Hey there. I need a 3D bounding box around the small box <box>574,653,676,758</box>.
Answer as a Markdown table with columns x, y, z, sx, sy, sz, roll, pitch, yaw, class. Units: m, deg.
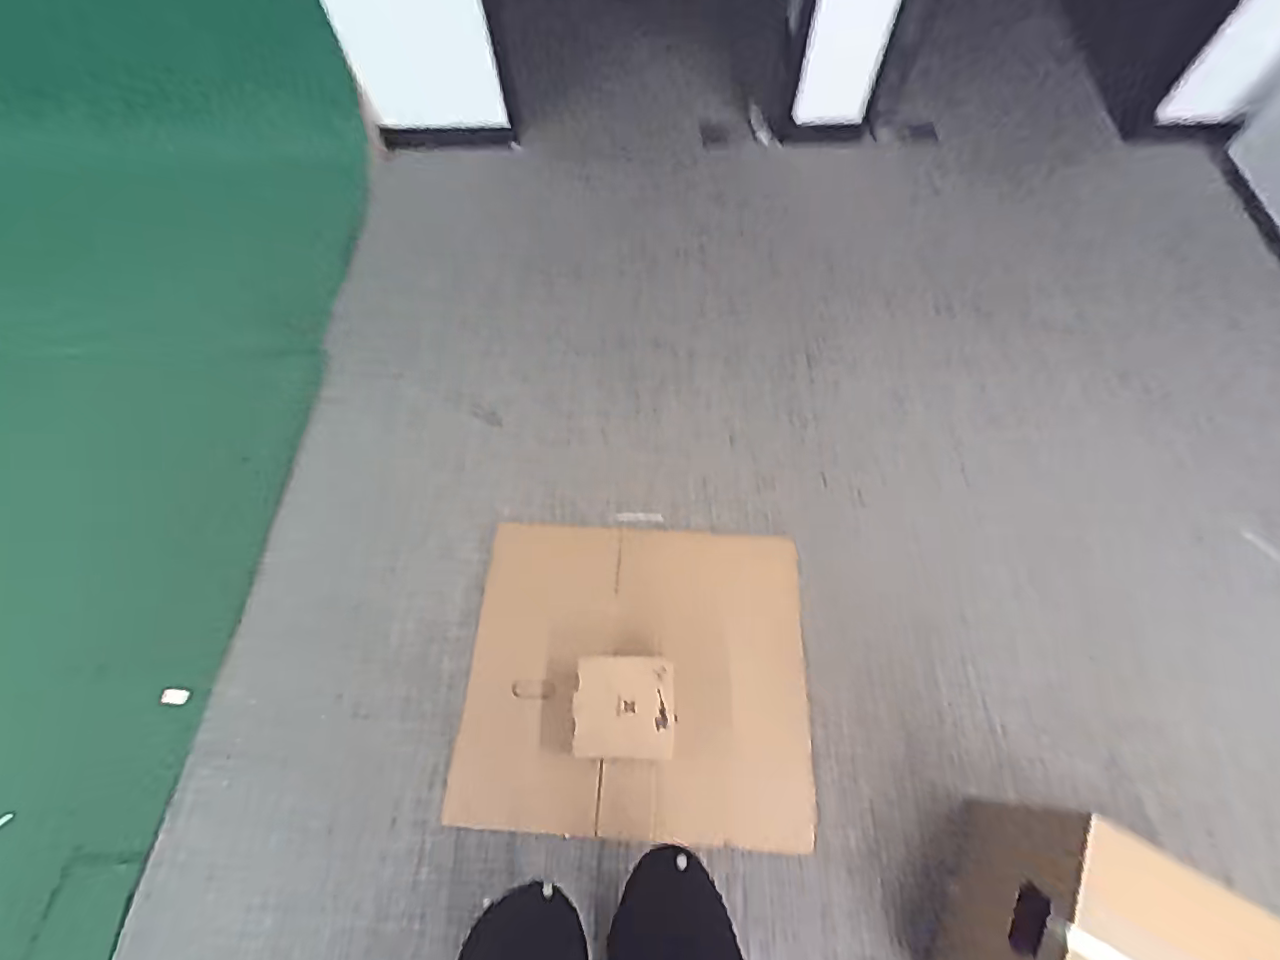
| x | y | z | sx | sy | sz | roll | pitch | yaw | class |
| --- | --- | --- | --- | --- | --- | --- | --- | --- | --- |
| -0.022 | 0.430 | 1.022 | 0.179 | 0.176 | 0.168 | -2 | 61 | 2 | small box |
